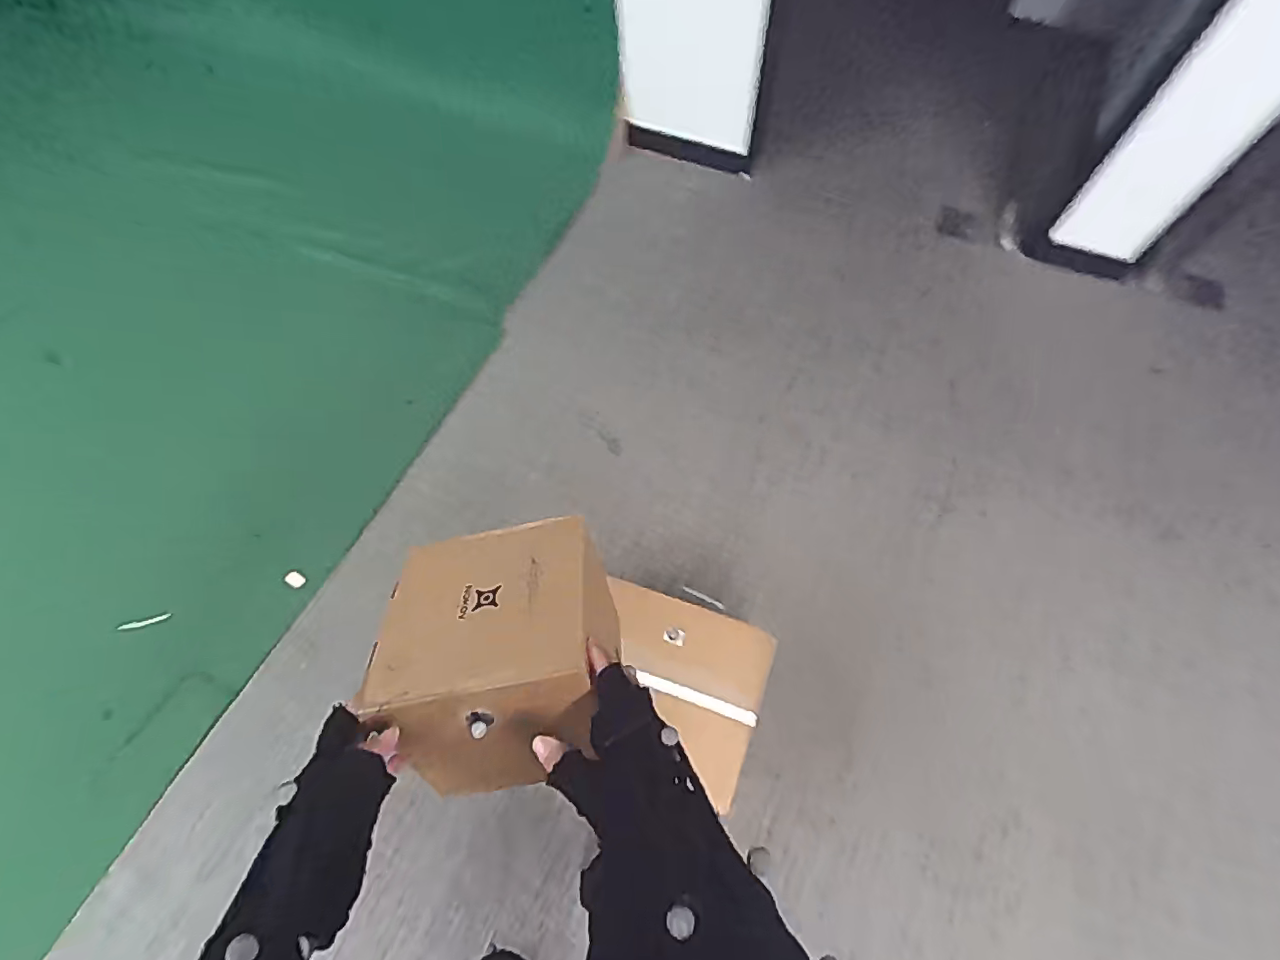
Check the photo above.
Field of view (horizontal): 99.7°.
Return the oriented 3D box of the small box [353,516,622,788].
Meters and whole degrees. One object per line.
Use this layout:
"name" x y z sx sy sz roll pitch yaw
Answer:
"small box" -0.122 0.162 0.506 0.179 0.176 0.168 -11 39 1
